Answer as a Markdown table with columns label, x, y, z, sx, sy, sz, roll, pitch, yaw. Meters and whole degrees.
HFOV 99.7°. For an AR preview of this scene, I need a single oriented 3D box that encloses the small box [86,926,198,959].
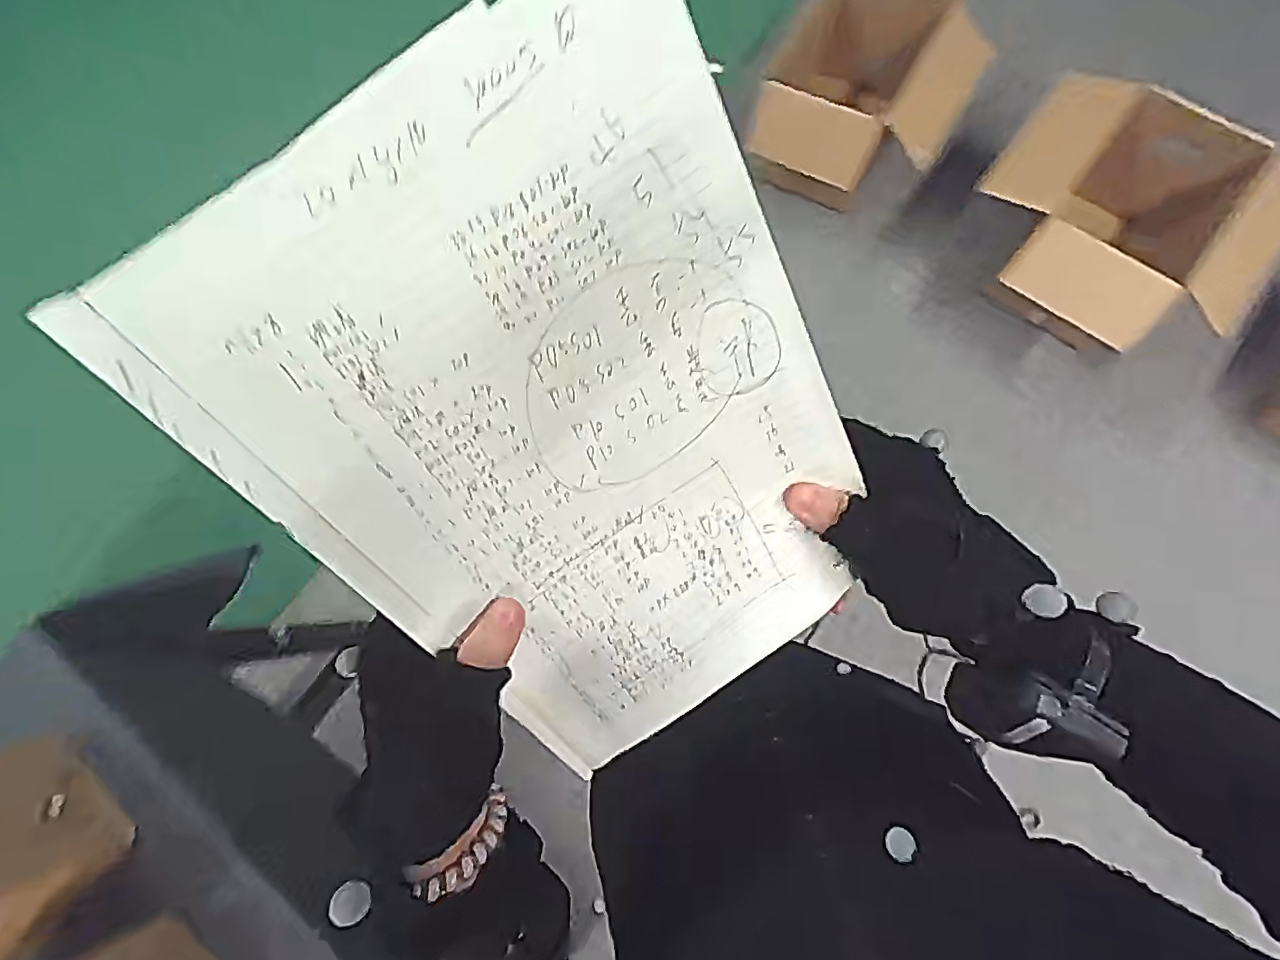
| label | x | y | z | sx | sy | sz | roll | pitch | yaw |
| --- | --- | --- | --- | --- | --- | --- | --- | --- | --- |
| small box | -0.512 | 0.568 | 0.488 | 0.179 | 0.176 | 0.168 | 32 | 81 | 11 |

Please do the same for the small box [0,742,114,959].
| label | x | y | z | sx | sy | sz | roll | pitch | yaw |
| --- | --- | --- | --- | --- | --- | --- | --- | --- | --- |
| small box | -0.709 | 0.404 | 0.541 | 0.168 | 0.176 | 0.179 | 38 | 83 | 11 |
